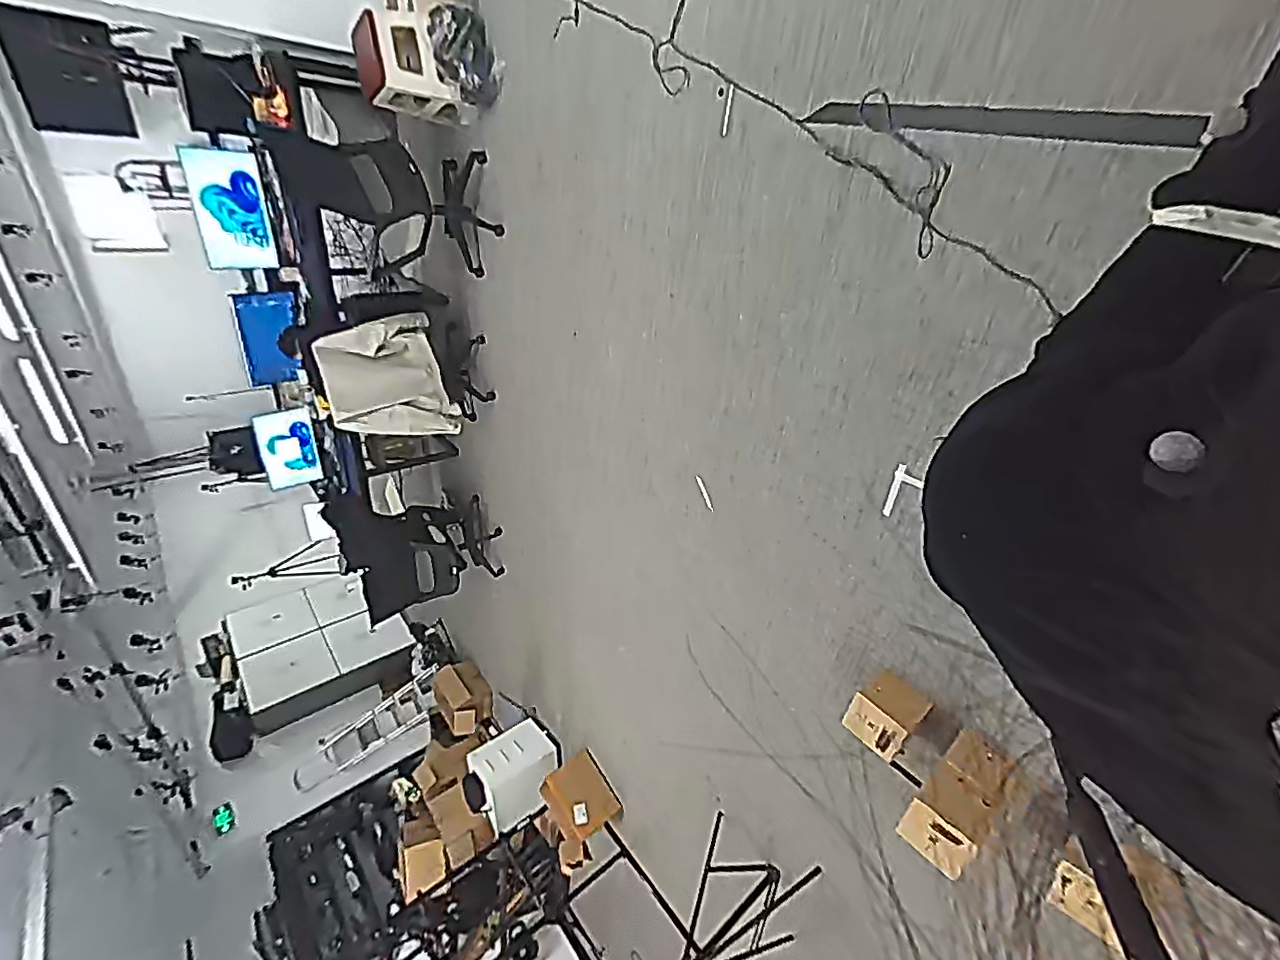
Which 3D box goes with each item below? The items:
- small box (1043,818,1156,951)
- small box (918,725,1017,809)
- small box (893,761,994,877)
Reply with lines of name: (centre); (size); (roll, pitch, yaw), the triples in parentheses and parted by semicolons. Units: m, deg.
small box: (1.168, 1.014, 1.373); (0.179, 0.176, 0.168); (21, 121, 44)
small box: (0.953, 0.861, 1.571); (0.168, 0.176, 0.179); (37, 131, 36)
small box: (0.830, 0.915, 1.475); (0.168, 0.176, 0.179); (34, 131, 38)
